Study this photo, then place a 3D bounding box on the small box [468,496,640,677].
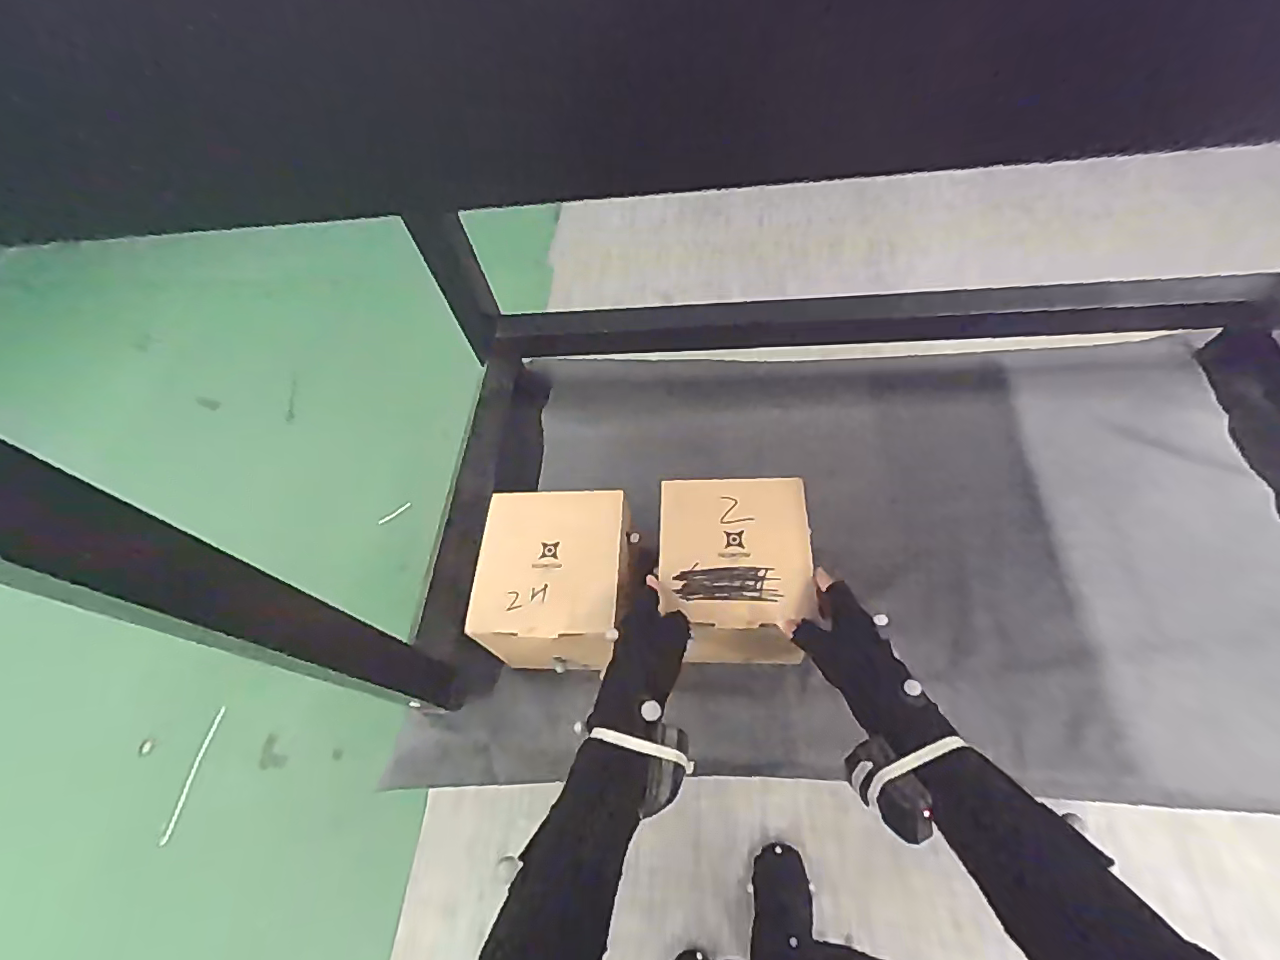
[{"bbox_3d":[-0.092,0.136,0.680,0.168,0.176,0.179,-2,58,7],"label":"small box"}]
